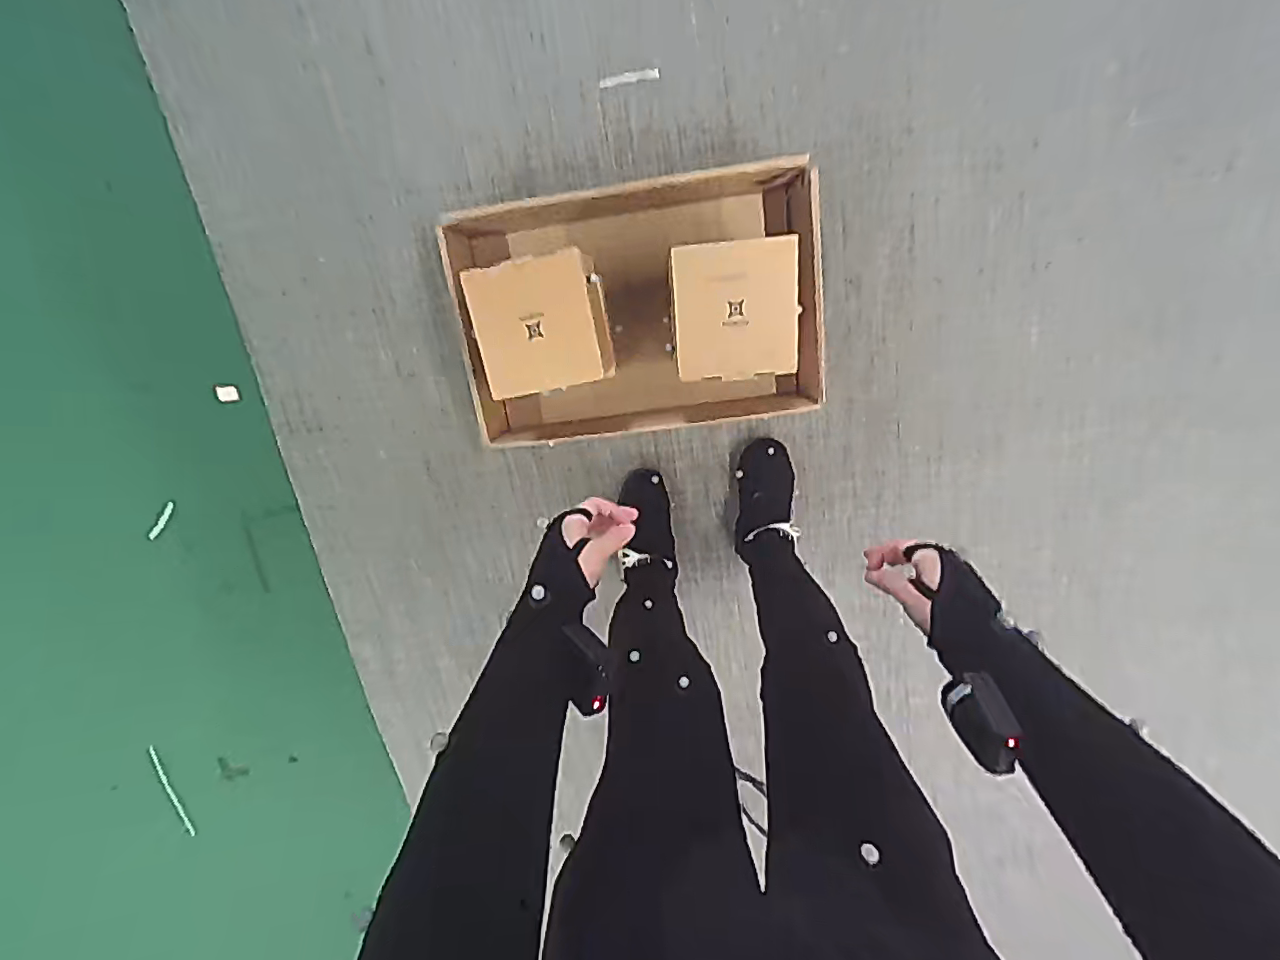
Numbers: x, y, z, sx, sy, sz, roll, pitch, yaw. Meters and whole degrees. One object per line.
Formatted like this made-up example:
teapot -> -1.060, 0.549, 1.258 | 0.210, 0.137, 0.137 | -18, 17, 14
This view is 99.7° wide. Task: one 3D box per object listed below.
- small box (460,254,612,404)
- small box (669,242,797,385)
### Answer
small box -> -0.143, -0.226, 0.817 | 0.168, 0.176, 0.179 | -11, 105, 5
small box -> 0.130, -0.242, 0.796 | 0.168, 0.176, 0.179 | -4, 106, 3
